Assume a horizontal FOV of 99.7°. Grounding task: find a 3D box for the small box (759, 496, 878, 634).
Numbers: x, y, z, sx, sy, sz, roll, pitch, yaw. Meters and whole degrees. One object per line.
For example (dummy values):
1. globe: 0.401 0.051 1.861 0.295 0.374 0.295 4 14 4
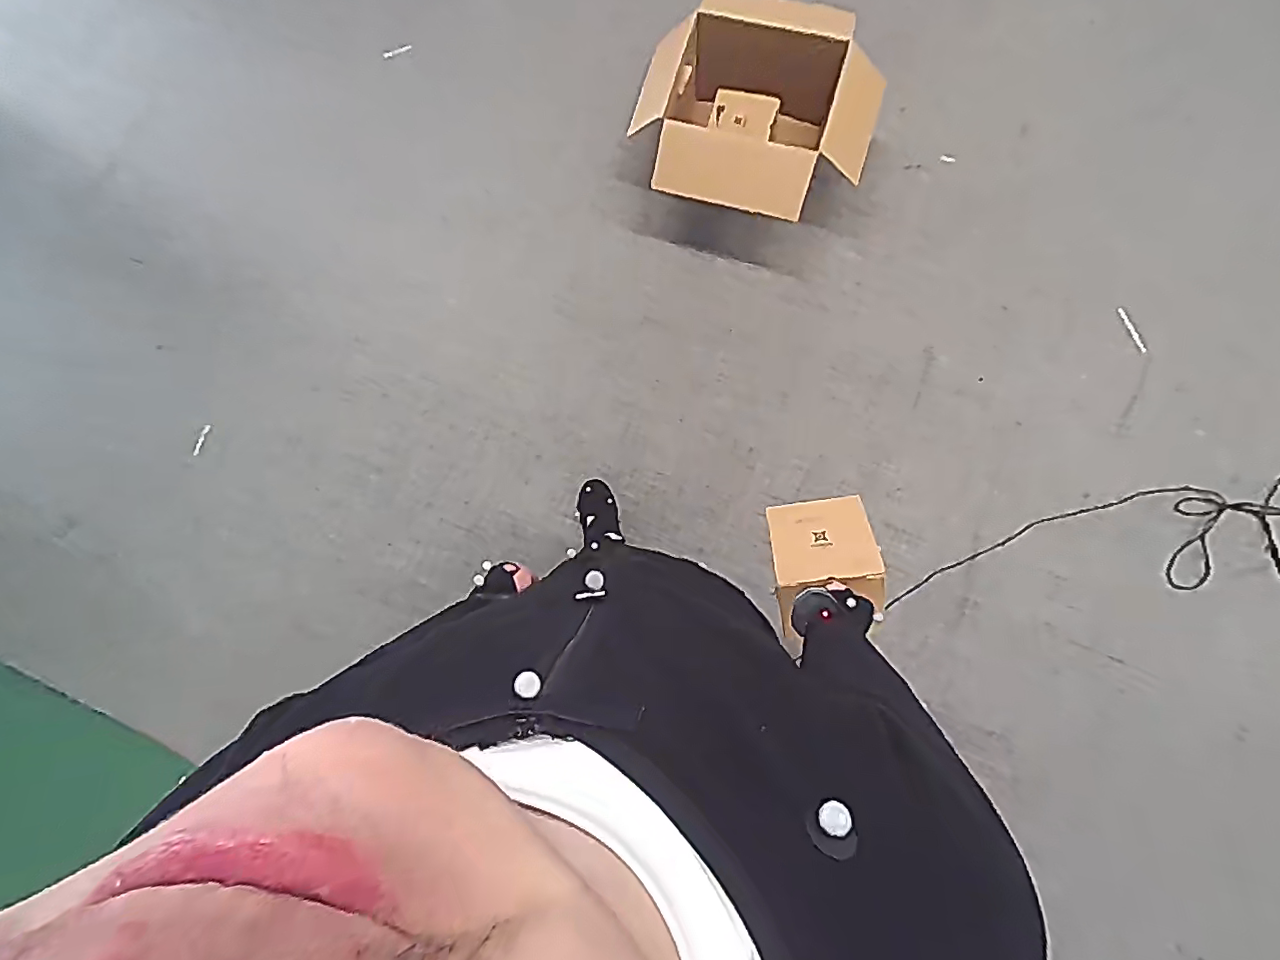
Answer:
1. small box: 0.307 0.155 0.948 0.168 0.176 0.179 -7 40 10
